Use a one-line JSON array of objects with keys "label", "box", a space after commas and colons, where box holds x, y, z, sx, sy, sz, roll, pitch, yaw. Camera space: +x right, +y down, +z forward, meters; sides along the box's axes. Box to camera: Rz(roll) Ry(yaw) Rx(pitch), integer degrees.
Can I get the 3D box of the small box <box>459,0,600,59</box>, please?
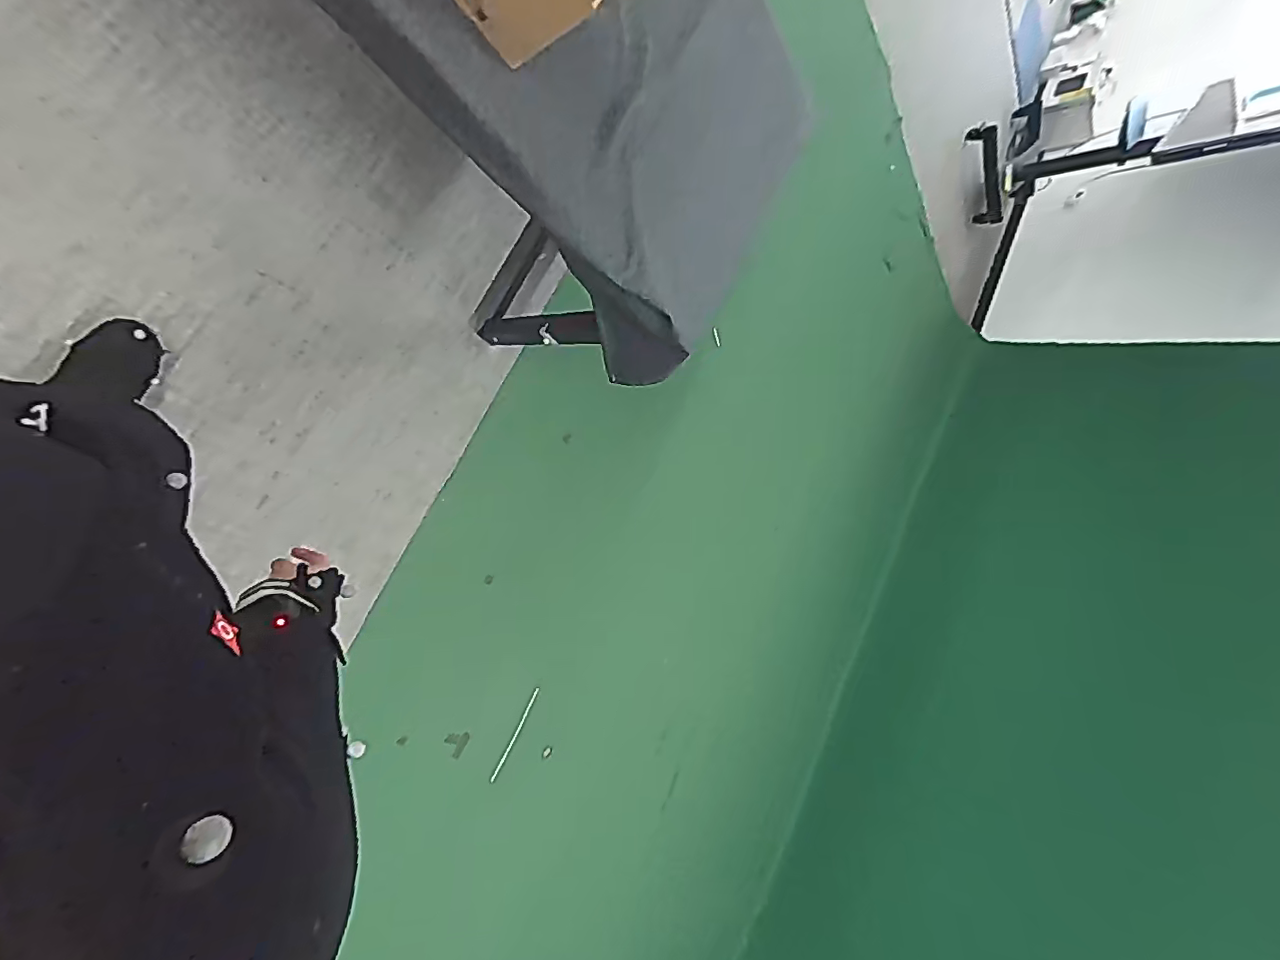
[{"label": "small box", "box": [-0.115, -0.607, 0.570, 0.168, 0.176, 0.179, 35, 76, -43]}]
